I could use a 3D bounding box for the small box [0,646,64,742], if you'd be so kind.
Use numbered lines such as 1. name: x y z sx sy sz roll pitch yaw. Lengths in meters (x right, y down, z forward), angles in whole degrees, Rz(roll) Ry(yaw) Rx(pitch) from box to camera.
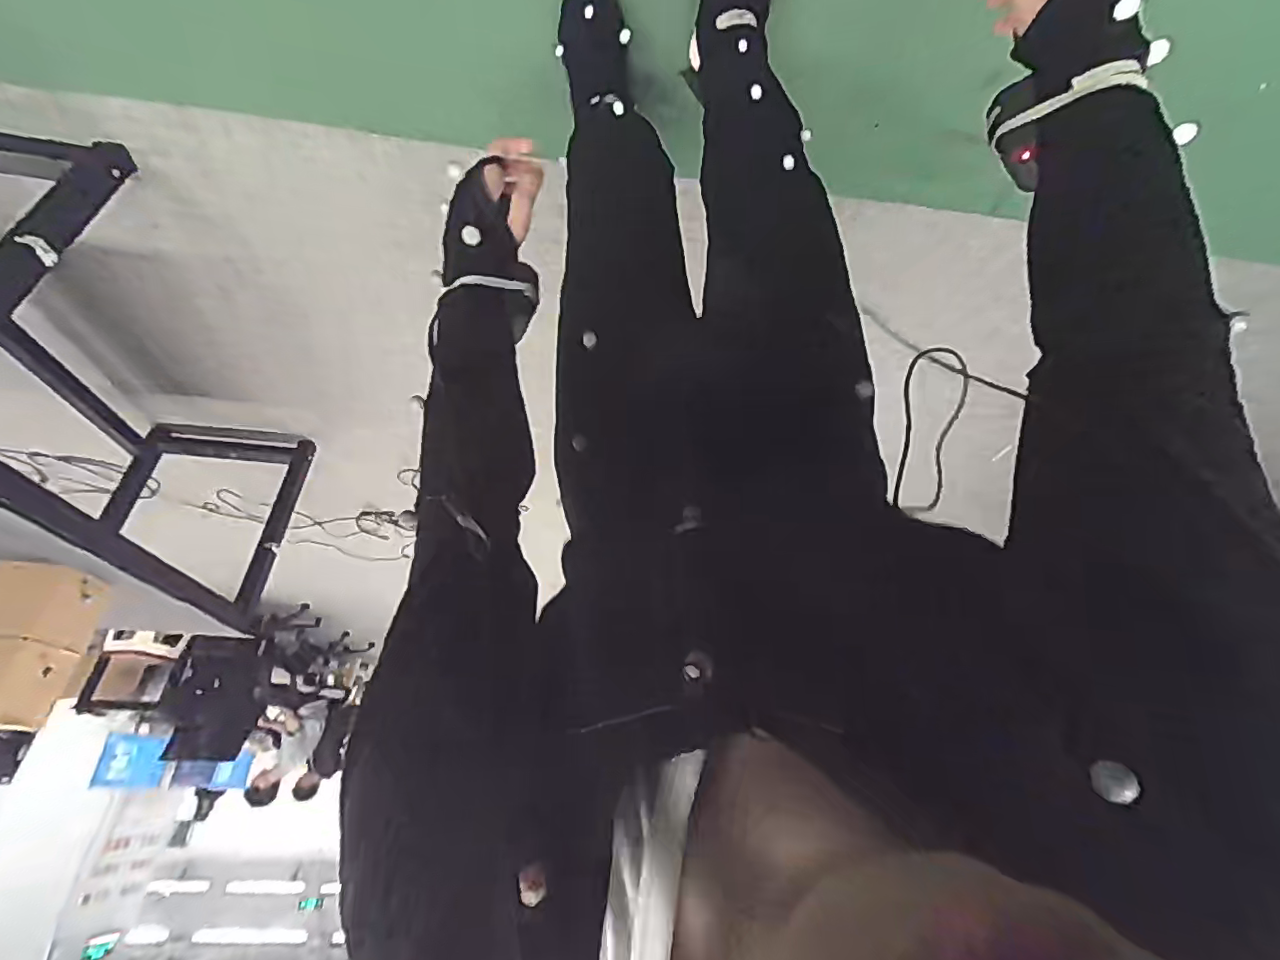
1. small box: -1.396 0.442 1.130 0.179 0.176 0.168 6 148 -6

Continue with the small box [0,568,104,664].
1. small box: -1.391 0.304 1.215 0.179 0.176 0.168 6 149 -6
